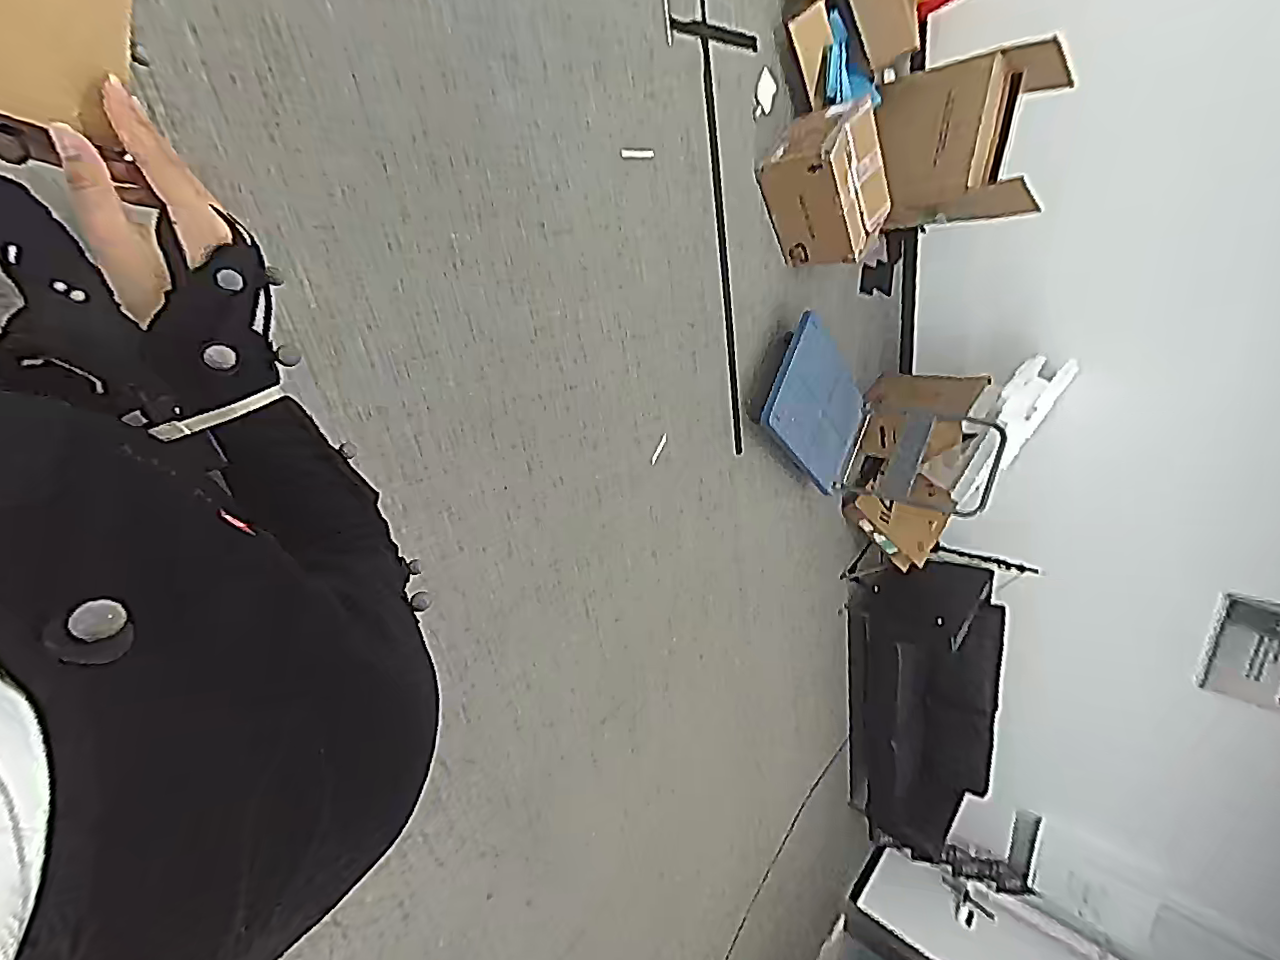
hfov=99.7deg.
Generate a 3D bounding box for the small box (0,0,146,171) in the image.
[{"bbox_3d":[-0.388,-0.284,0.285,0.179,0.176,0.168,0,105,-47],"label":"small box"}]
